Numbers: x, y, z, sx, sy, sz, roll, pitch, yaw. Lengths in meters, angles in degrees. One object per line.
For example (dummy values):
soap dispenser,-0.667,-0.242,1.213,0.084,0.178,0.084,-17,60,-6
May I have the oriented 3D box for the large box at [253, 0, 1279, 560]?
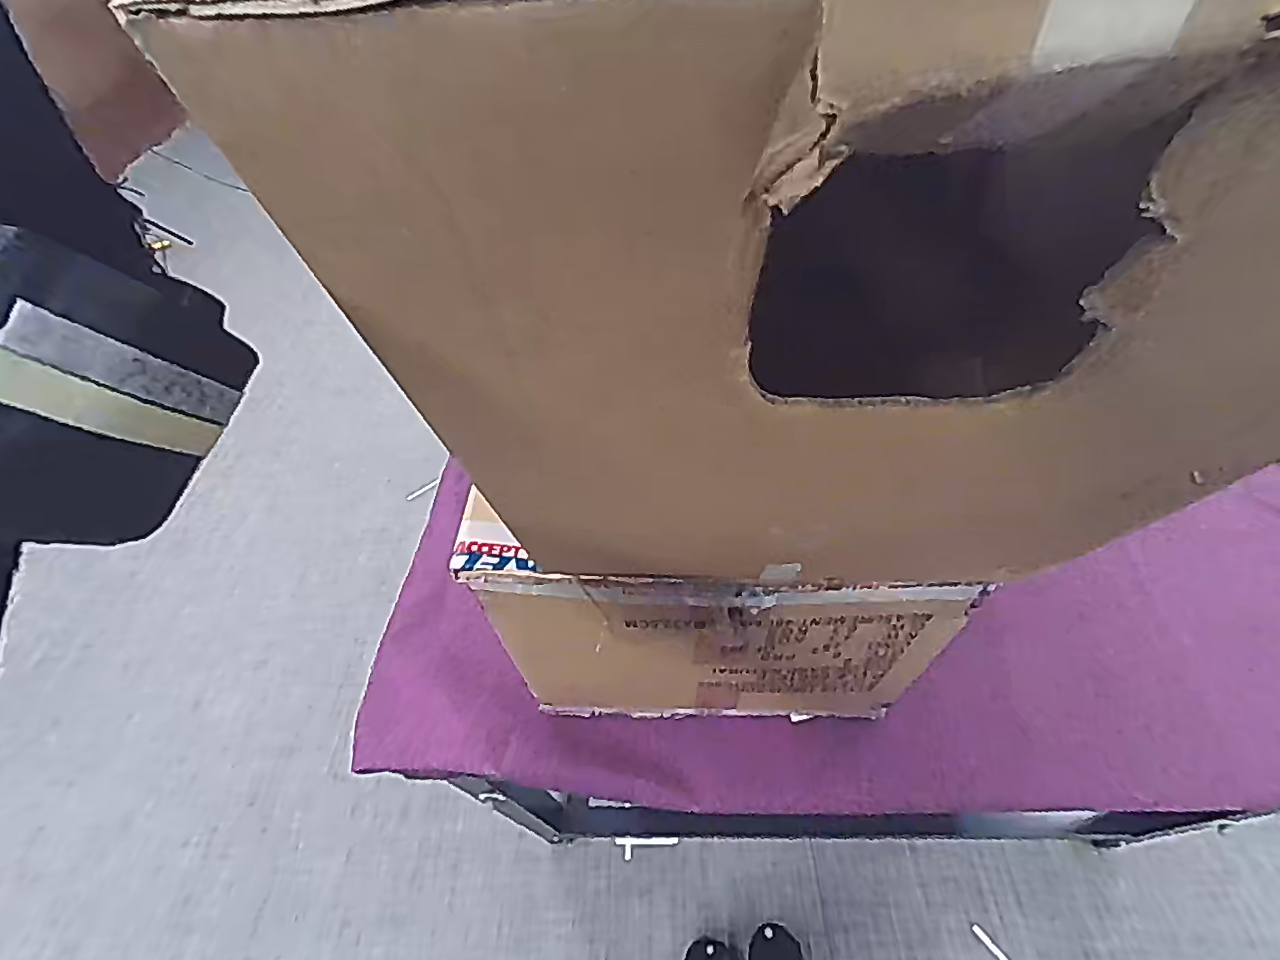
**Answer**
large box,0.087,-0.191,0.309,0.320,0.320,0.408,-1,64,4
